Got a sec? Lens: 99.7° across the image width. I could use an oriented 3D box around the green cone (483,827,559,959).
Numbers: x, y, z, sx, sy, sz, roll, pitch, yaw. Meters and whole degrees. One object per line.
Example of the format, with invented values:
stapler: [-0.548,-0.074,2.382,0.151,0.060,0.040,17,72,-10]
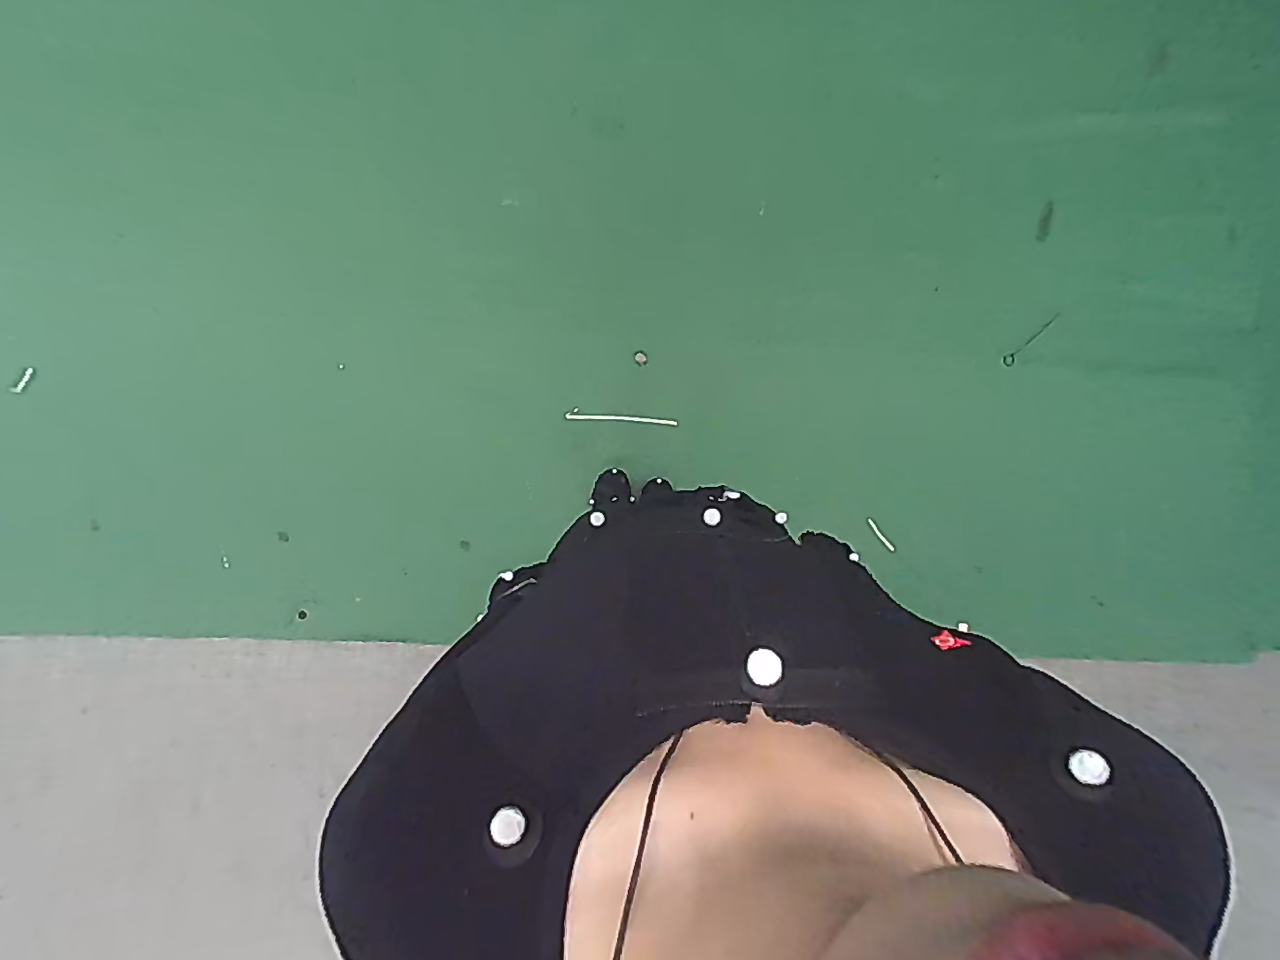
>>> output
green cone: [-0.321,1.062,1.321,0.200,0.368,0.202,4,90,-2]
